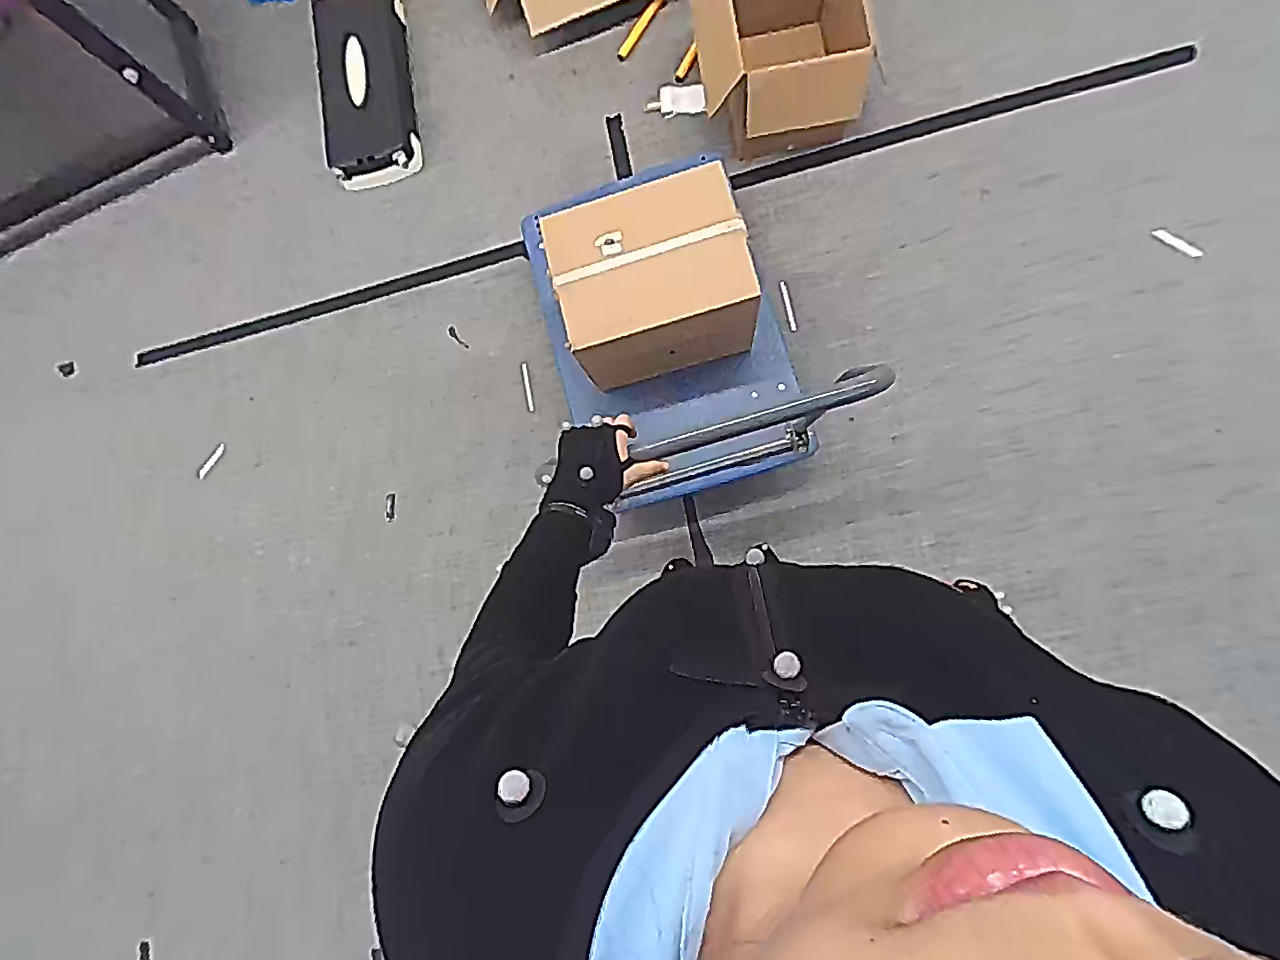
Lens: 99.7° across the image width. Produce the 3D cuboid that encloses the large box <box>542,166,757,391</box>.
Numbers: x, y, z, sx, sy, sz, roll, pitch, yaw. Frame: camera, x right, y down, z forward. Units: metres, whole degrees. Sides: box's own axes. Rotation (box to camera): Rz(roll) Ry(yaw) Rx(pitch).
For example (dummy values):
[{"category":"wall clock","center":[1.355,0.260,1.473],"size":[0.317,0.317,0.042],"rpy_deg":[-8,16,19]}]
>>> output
[{"category":"large box","center":[0.035,-0.445,1.281],"size":[0.408,0.320,0.320],"rpy_deg":[-16,80,7]}]
